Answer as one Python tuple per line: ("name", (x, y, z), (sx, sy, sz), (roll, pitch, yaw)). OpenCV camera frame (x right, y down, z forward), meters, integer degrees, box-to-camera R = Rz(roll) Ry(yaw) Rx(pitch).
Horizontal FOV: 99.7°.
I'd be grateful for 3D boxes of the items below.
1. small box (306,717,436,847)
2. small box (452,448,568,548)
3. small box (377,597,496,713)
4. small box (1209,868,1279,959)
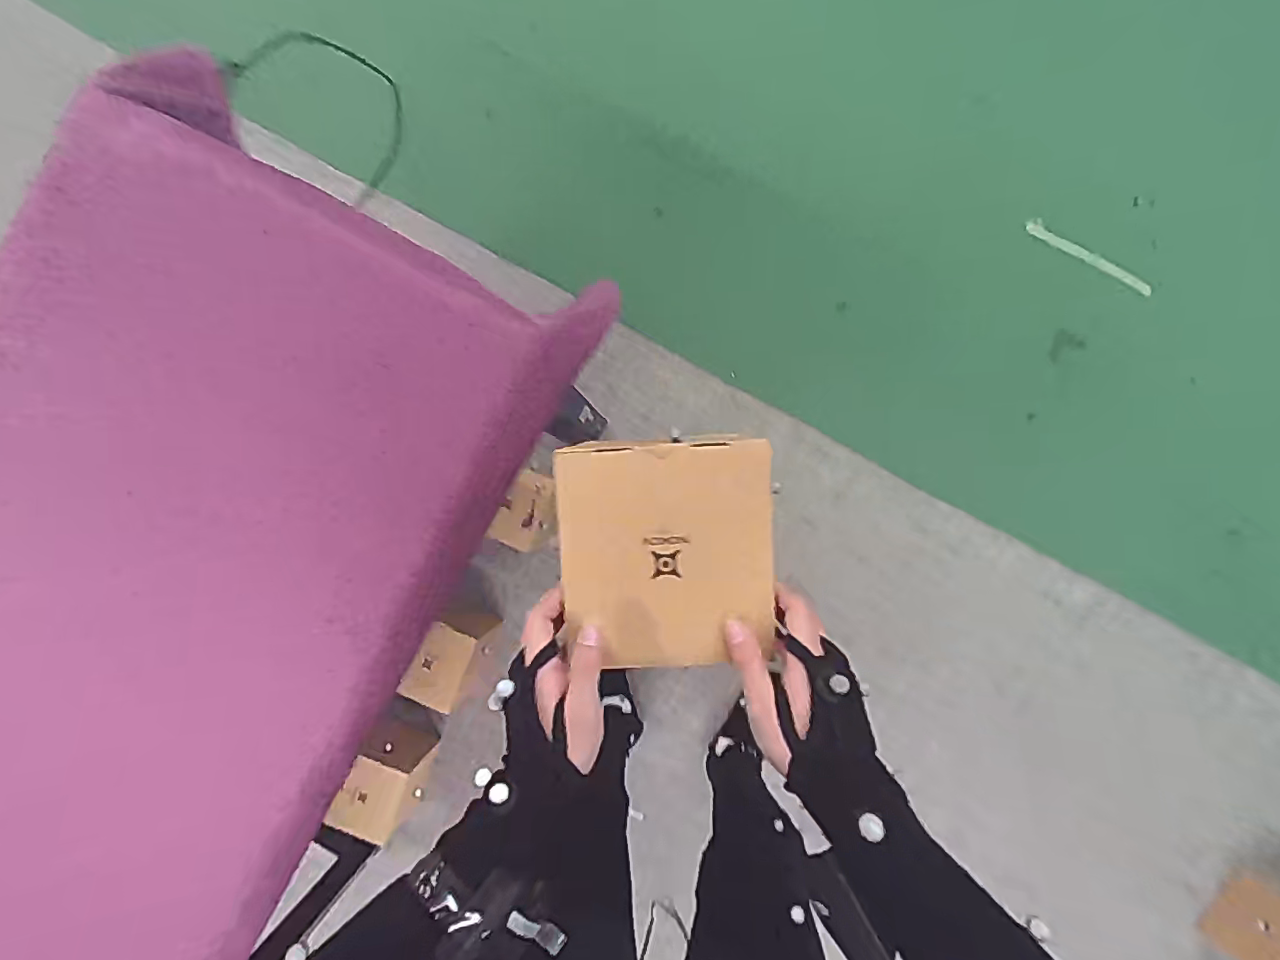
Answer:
("small box", (-0.589, 0.663, 1.210), (0.179, 0.176, 0.168), (20, 89, 4))
("small box", (-0.283, 0.042, 1.213), (0.179, 0.176, 0.168), (22, 89, 4))
("small box", (-0.443, 0.380, 1.212), (0.168, 0.176, 0.179), (22, 90, 4))
("small box", (1.334, 0.951, 1.094), (0.168, 0.176, 0.179), (30, 89, 3))
